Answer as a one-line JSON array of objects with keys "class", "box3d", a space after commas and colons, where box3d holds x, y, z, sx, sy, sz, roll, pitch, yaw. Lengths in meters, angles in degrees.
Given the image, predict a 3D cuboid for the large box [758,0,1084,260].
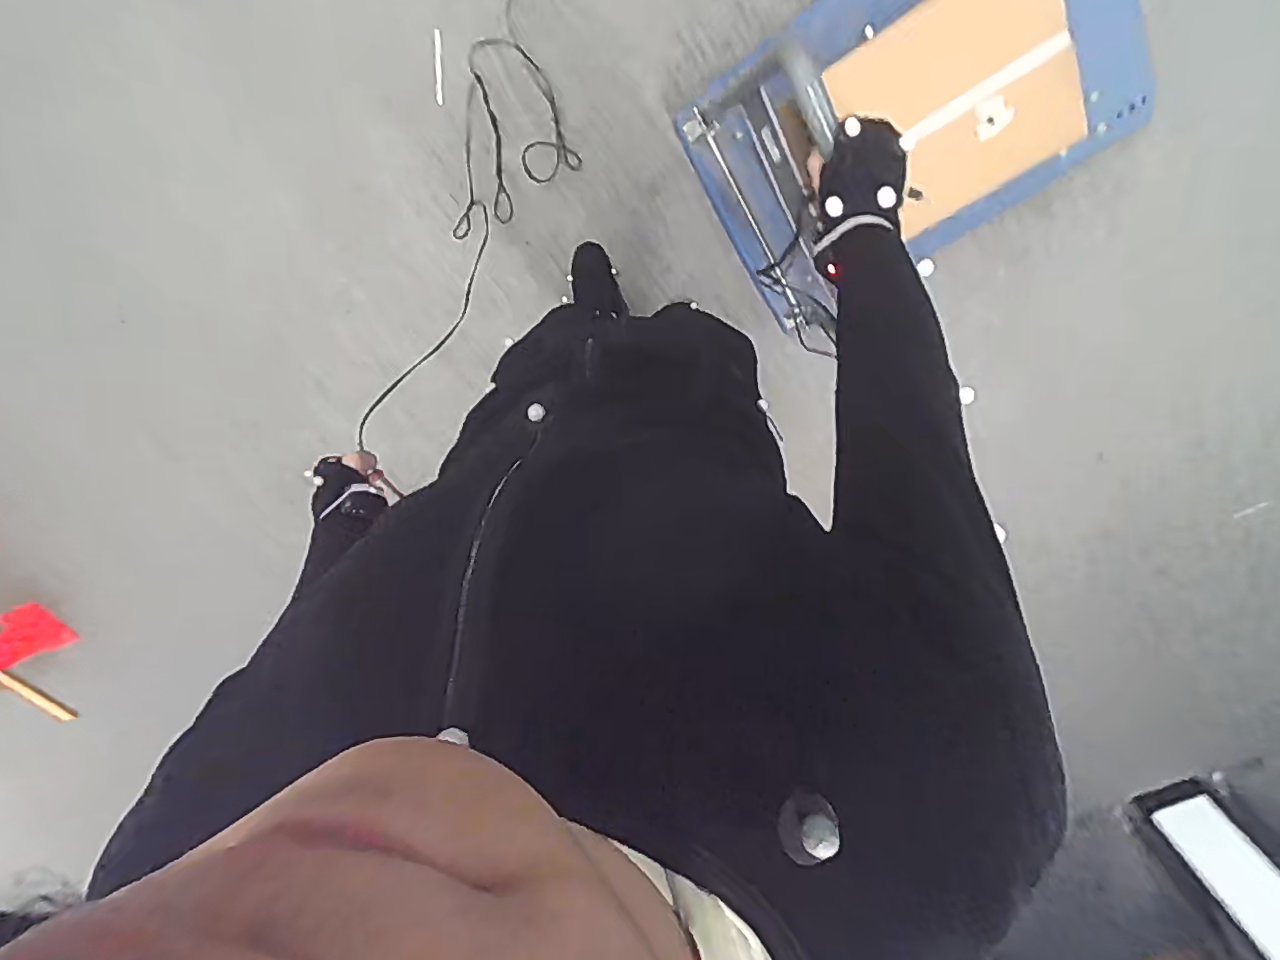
[{"class": "large box", "box3d": [0.492, -0.676, 1.018, 0.408, 0.320, 0.320, -29, 115, 13]}]
